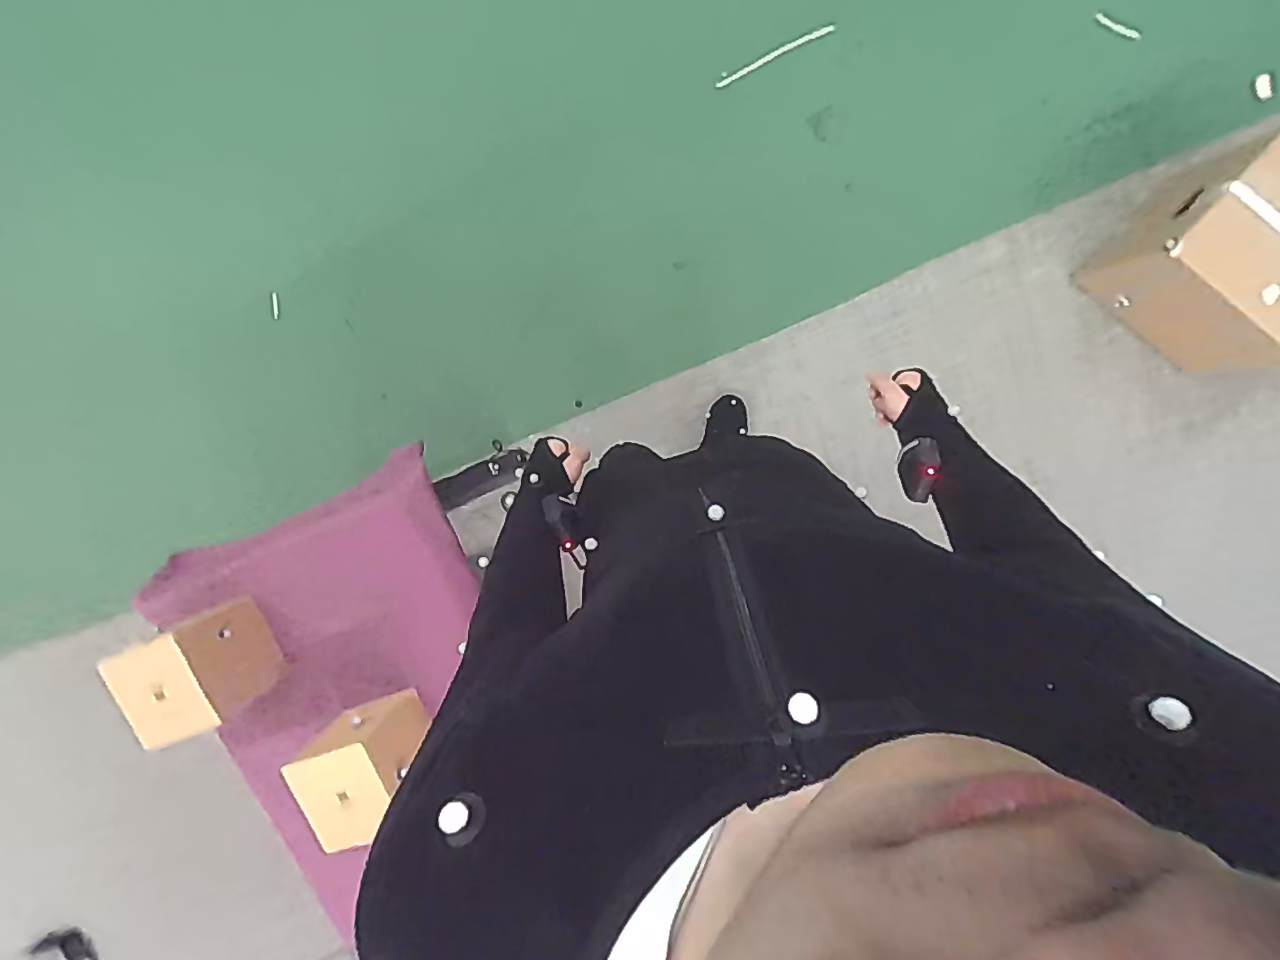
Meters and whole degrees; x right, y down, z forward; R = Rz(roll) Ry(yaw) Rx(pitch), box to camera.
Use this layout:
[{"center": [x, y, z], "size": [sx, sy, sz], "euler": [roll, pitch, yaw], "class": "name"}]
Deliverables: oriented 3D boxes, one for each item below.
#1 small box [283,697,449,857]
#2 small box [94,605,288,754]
[{"center": [-0.478, 0.519, 0.972], "size": [0.168, 0.176, 0.179], "euler": [-22, 98, 10], "class": "small box"}, {"center": [-0.789, 0.345, 0.971], "size": [0.168, 0.176, 0.179], "euler": [-21, 98, 9], "class": "small box"}]
